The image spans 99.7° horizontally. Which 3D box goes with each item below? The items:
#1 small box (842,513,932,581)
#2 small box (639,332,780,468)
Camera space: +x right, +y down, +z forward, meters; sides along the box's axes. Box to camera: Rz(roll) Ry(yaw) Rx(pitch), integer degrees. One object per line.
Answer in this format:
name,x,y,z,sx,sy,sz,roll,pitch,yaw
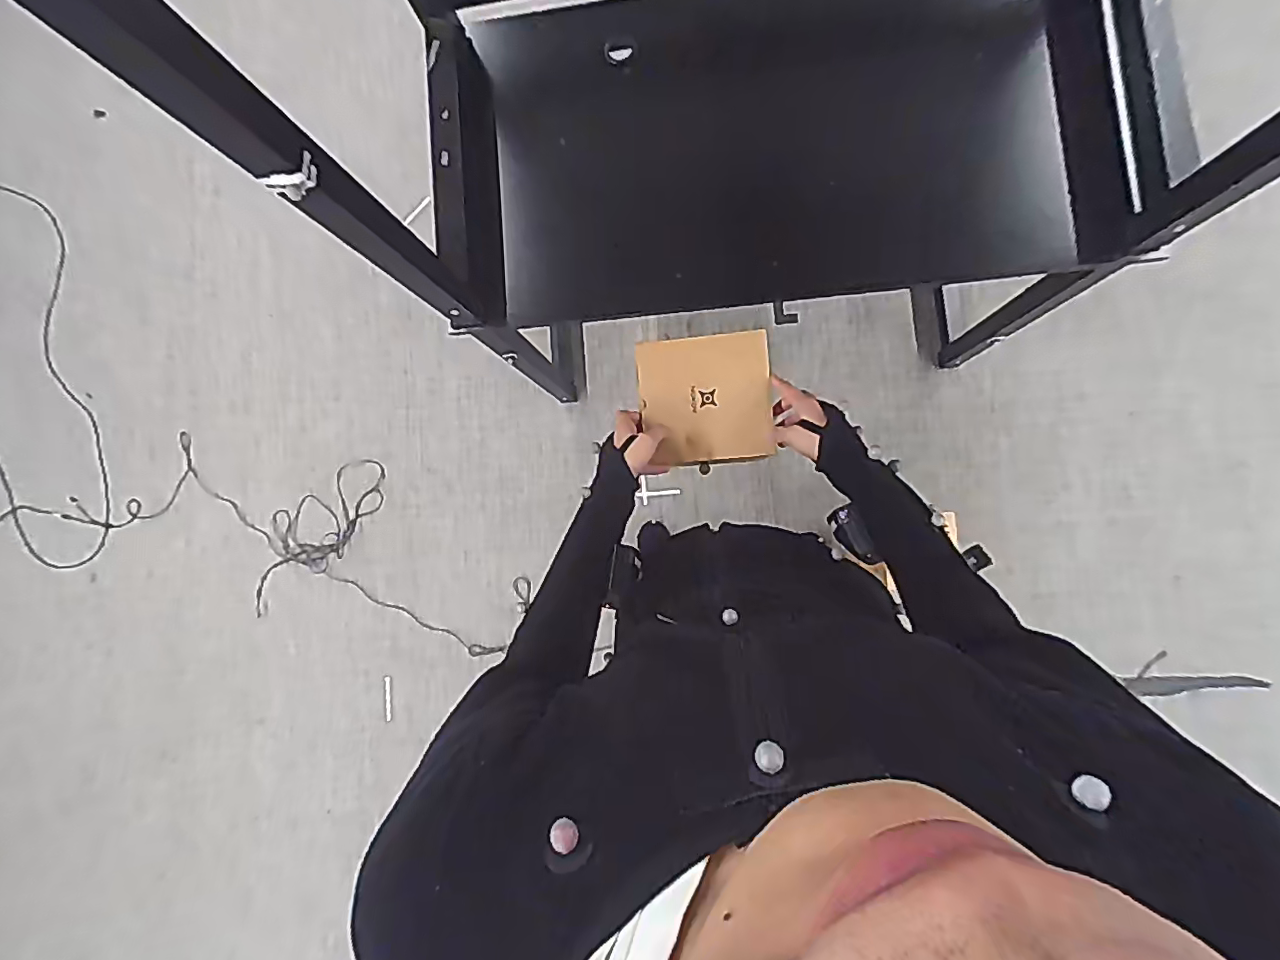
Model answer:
small box,0.673,0.179,1.489,0.179,0.176,0.168,-6,85,8
small box,0.100,-0.106,0.784,0.179,0.176,0.168,-5,89,9
